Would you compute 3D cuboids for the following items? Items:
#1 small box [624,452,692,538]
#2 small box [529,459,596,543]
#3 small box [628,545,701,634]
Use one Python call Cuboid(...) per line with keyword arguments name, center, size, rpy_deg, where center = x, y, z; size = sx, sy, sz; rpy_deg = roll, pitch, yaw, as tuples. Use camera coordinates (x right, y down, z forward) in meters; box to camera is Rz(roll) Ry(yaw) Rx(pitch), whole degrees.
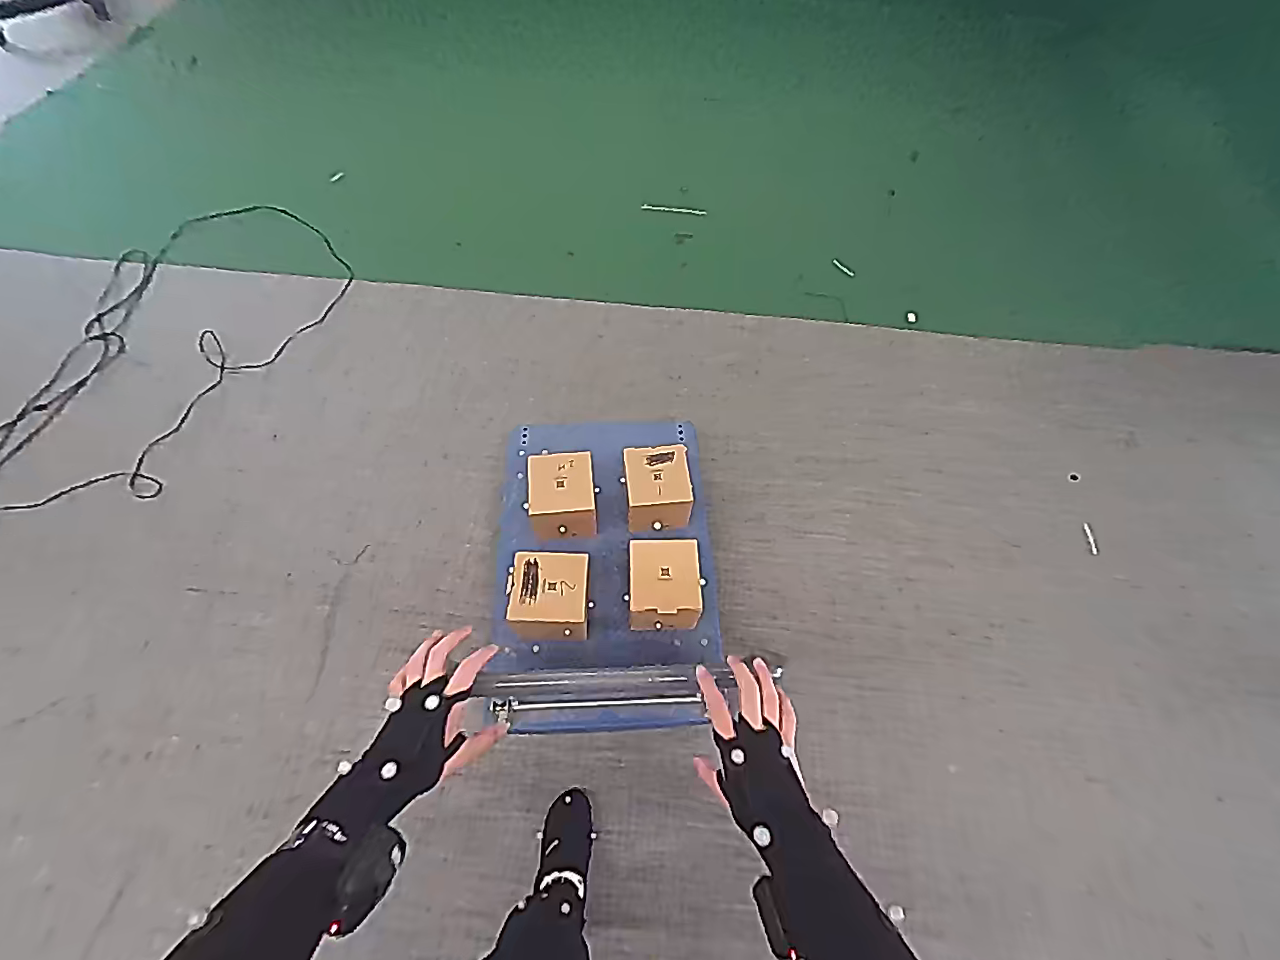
Cuboid(name="small box", center=(0.042, 0.043, 1.492), size=(0.168, 0.176, 0.179), rpy_deg=(-5, 61, -4))
Cuboid(name="small box", center=(-0.208, 0.064, 1.470), size=(0.168, 0.176, 0.179), rpy_deg=(-4, 60, -5))
Cuboid(name="small box", center=(0.055, 0.277, 1.357), size=(0.168, 0.176, 0.179), rpy_deg=(-1, 60, -3))
